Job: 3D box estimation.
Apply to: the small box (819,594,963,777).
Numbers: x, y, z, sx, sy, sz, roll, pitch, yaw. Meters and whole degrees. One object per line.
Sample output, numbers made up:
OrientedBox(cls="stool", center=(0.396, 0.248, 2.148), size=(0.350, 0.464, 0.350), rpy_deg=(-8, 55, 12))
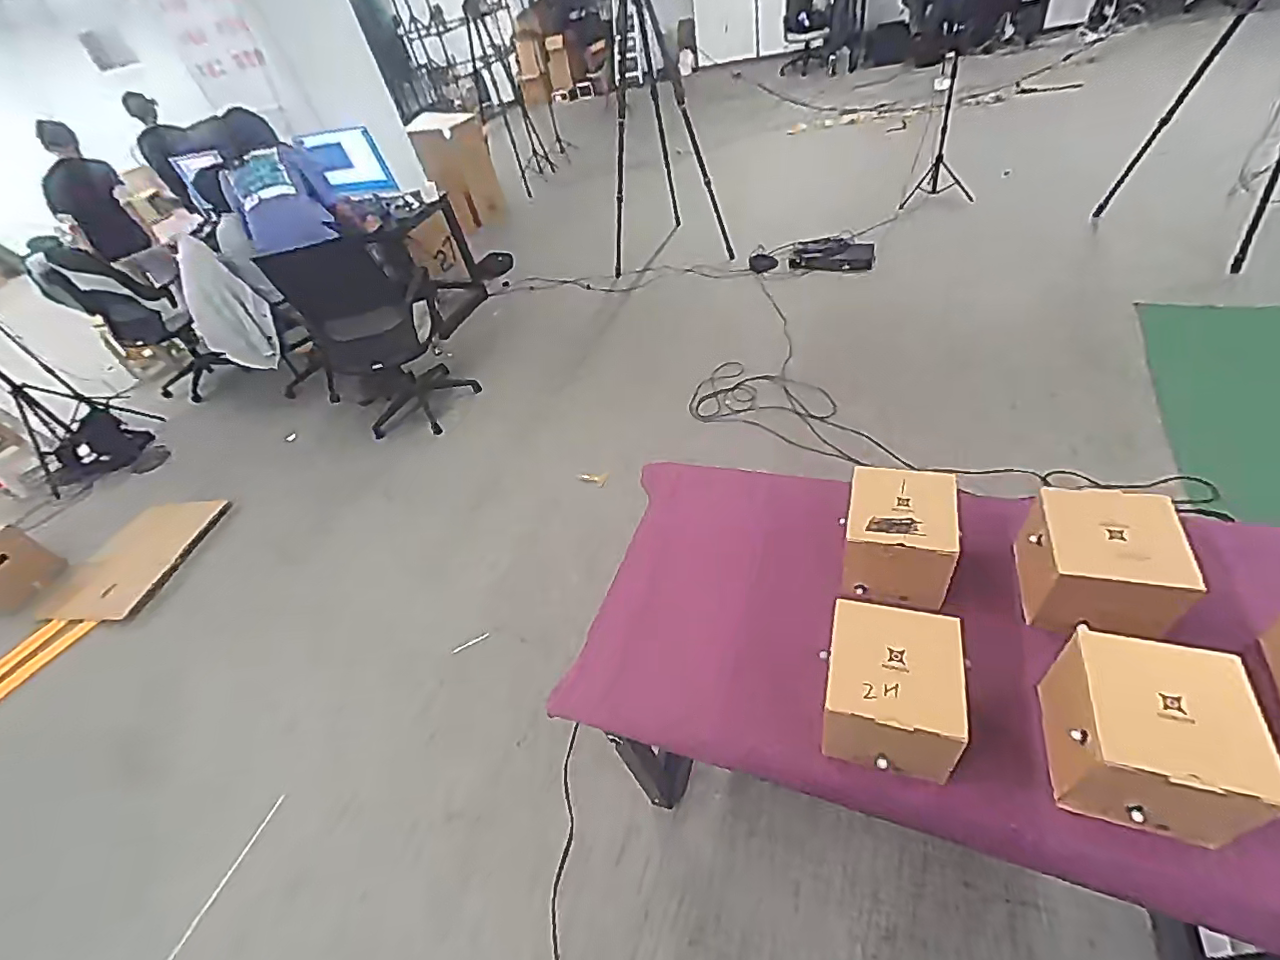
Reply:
OrientedBox(cls="small box", center=(0.359, 0.298, 0.792), size=(0.168, 0.176, 0.179), rpy_deg=(7, 48, 21))

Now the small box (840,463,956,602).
OrientedBox(cls="small box", center=(0.456, 0.094, 0.967), size=(0.168, 0.176, 0.179), rpy_deg=(7, 49, 21))

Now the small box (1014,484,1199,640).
OrientedBox(cls="small box", center=(0.718, 0.132, 0.860), size=(0.168, 0.176, 0.179), rpy_deg=(6, 50, 22))

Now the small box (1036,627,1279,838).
OrientedBox(cls="small box", center=(0.638, 0.322, 0.695), size=(0.168, 0.176, 0.179), rpy_deg=(7, 49, 21))
